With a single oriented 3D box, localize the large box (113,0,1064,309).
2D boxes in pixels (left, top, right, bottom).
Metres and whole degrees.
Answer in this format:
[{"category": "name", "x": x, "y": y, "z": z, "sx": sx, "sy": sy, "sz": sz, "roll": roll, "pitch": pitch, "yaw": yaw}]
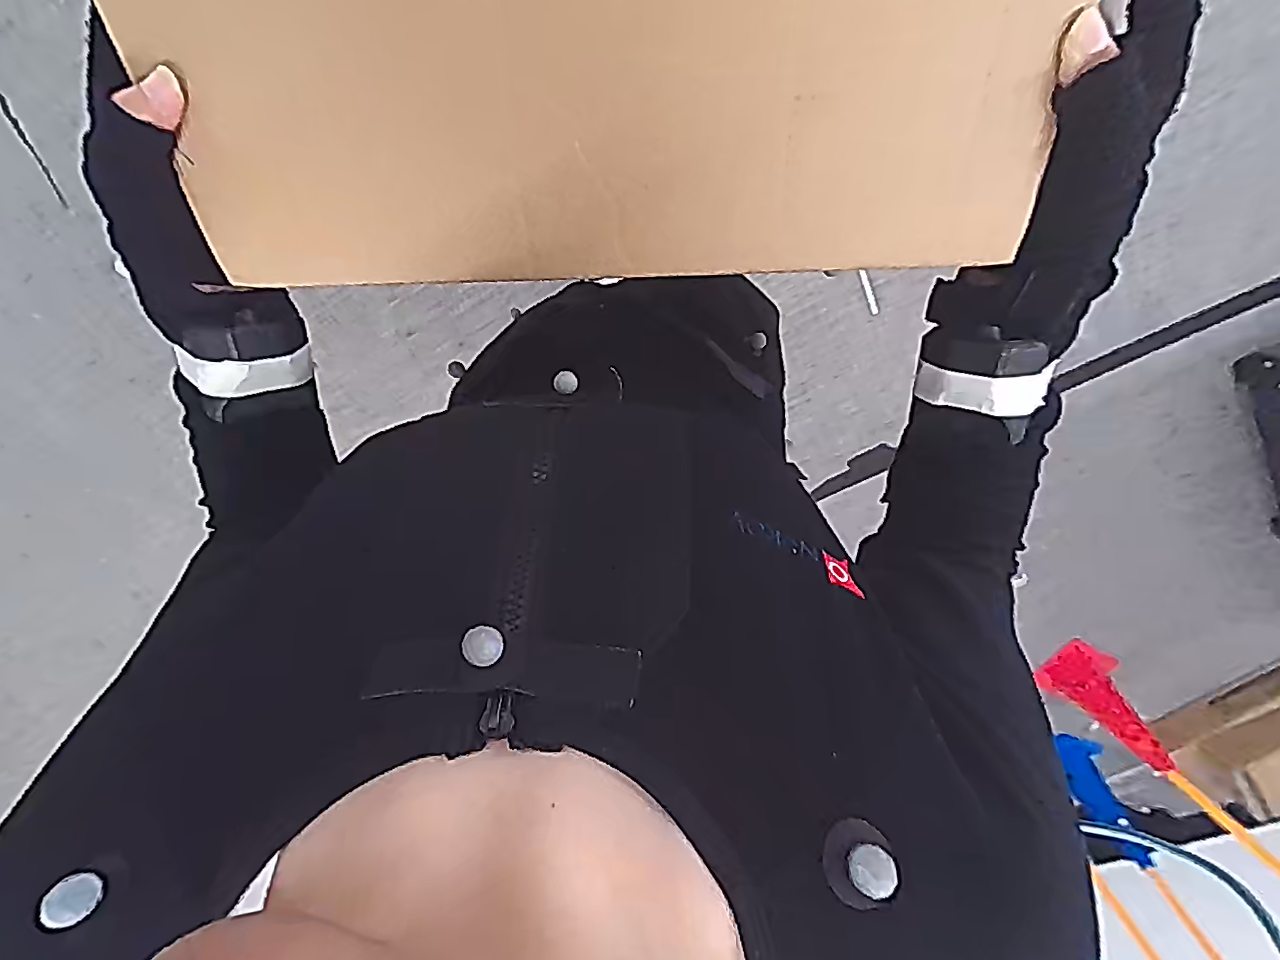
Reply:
[{"category": "large box", "x": -0.019, "y": -0.313, "z": 0.328, "sx": 0.408, "sy": 0.320, "sz": 0.320, "roll": -1, "pitch": 124, "yaw": 4}]
